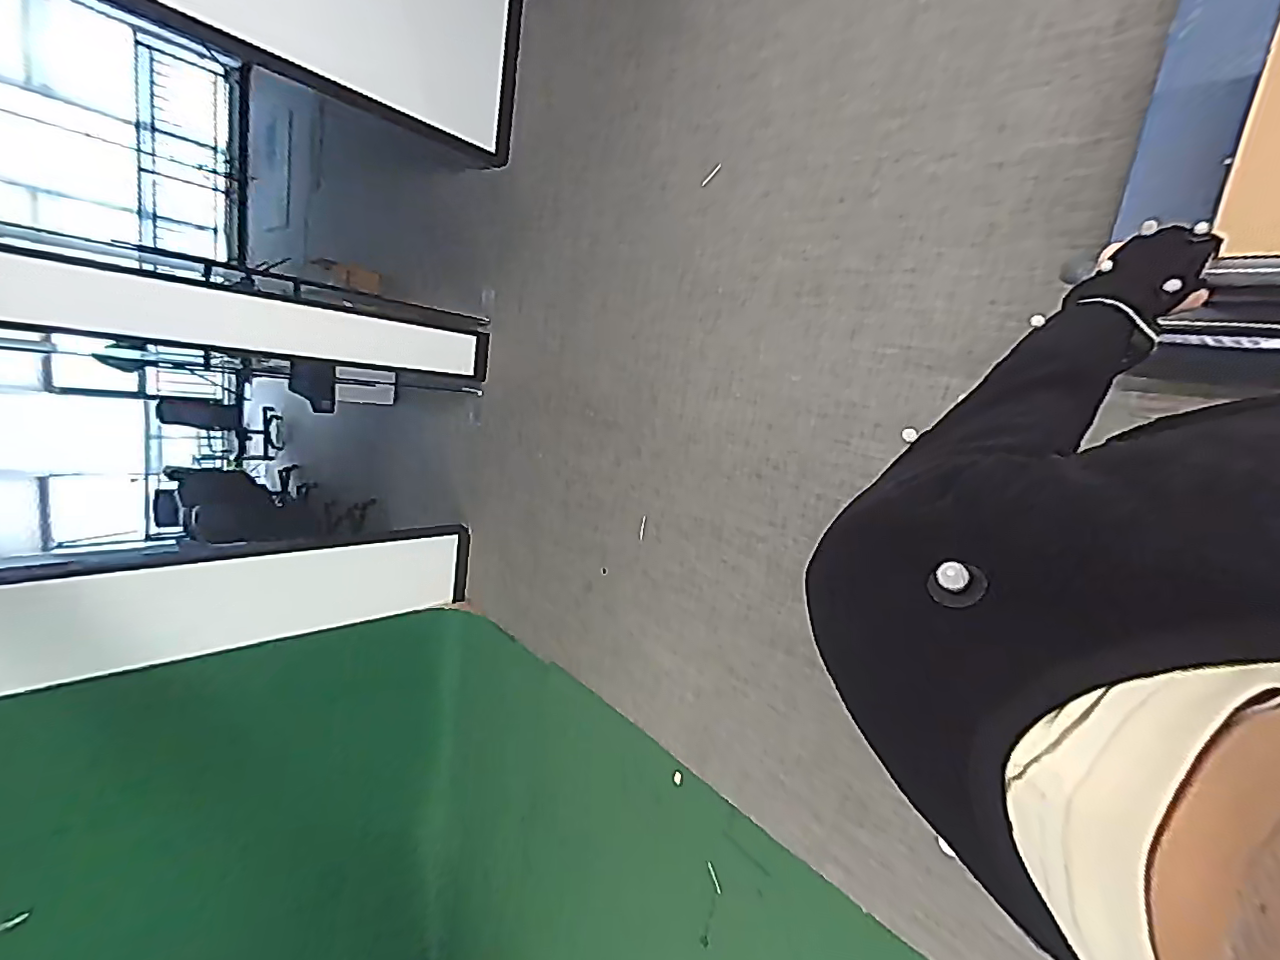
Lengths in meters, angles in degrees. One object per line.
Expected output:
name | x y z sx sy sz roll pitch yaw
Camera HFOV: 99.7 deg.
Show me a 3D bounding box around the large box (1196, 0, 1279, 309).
large box | 1.100 -0.494 0.808 0.320 0.320 0.408 17 102 42
